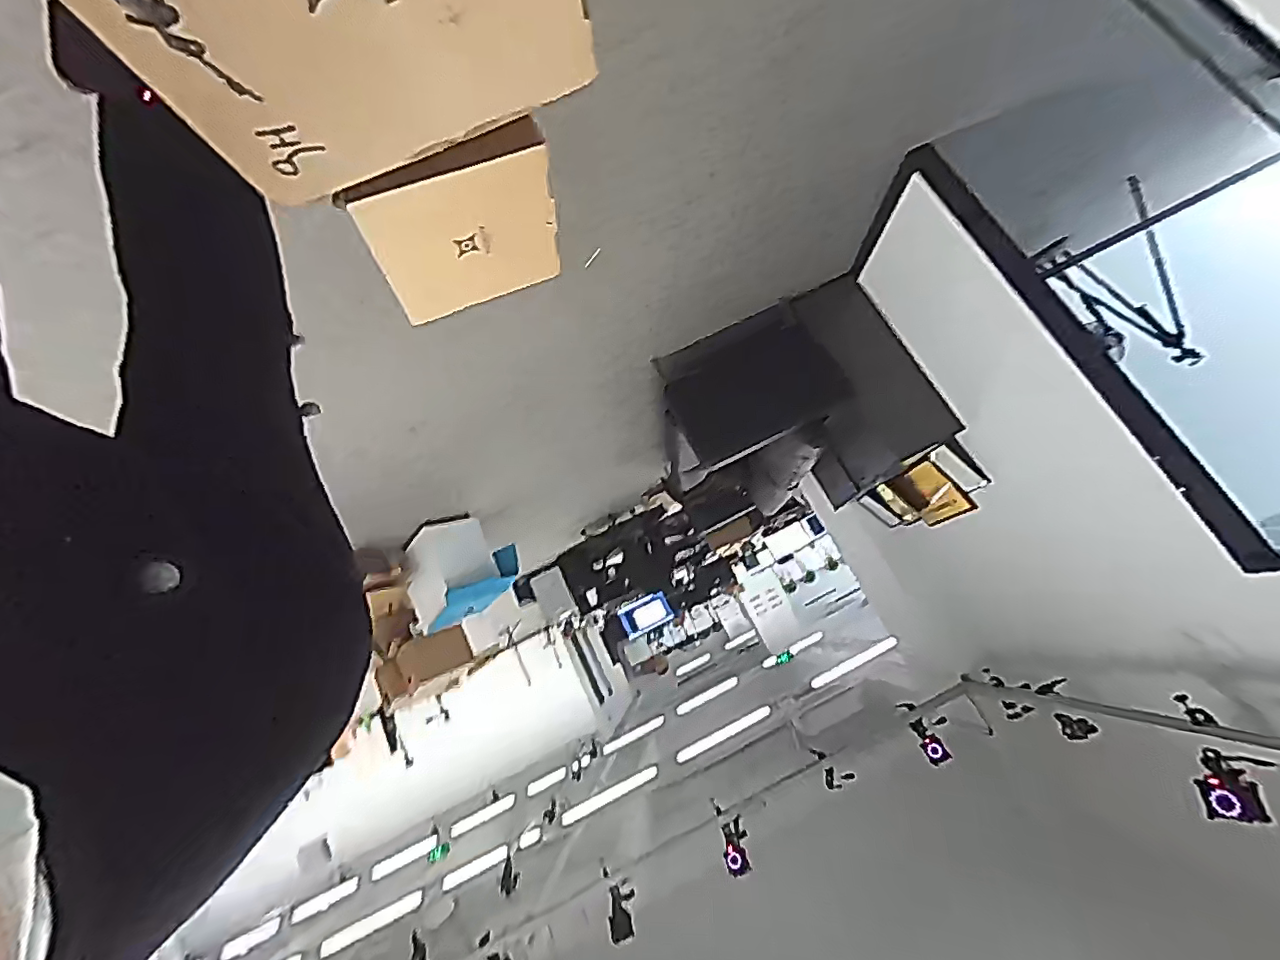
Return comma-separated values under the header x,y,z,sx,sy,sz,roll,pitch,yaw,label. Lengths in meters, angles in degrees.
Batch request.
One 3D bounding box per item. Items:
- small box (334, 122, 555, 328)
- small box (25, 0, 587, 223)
x,y,z,sx,sy,sz,roll,pitch,yaw,label
-0.204,-0.292,0.543,0.179,0.176,0.168,-25,164,-11,small box
-0.141,-0.249,0.206,0.179,0.176,0.168,-24,167,-2,small box
